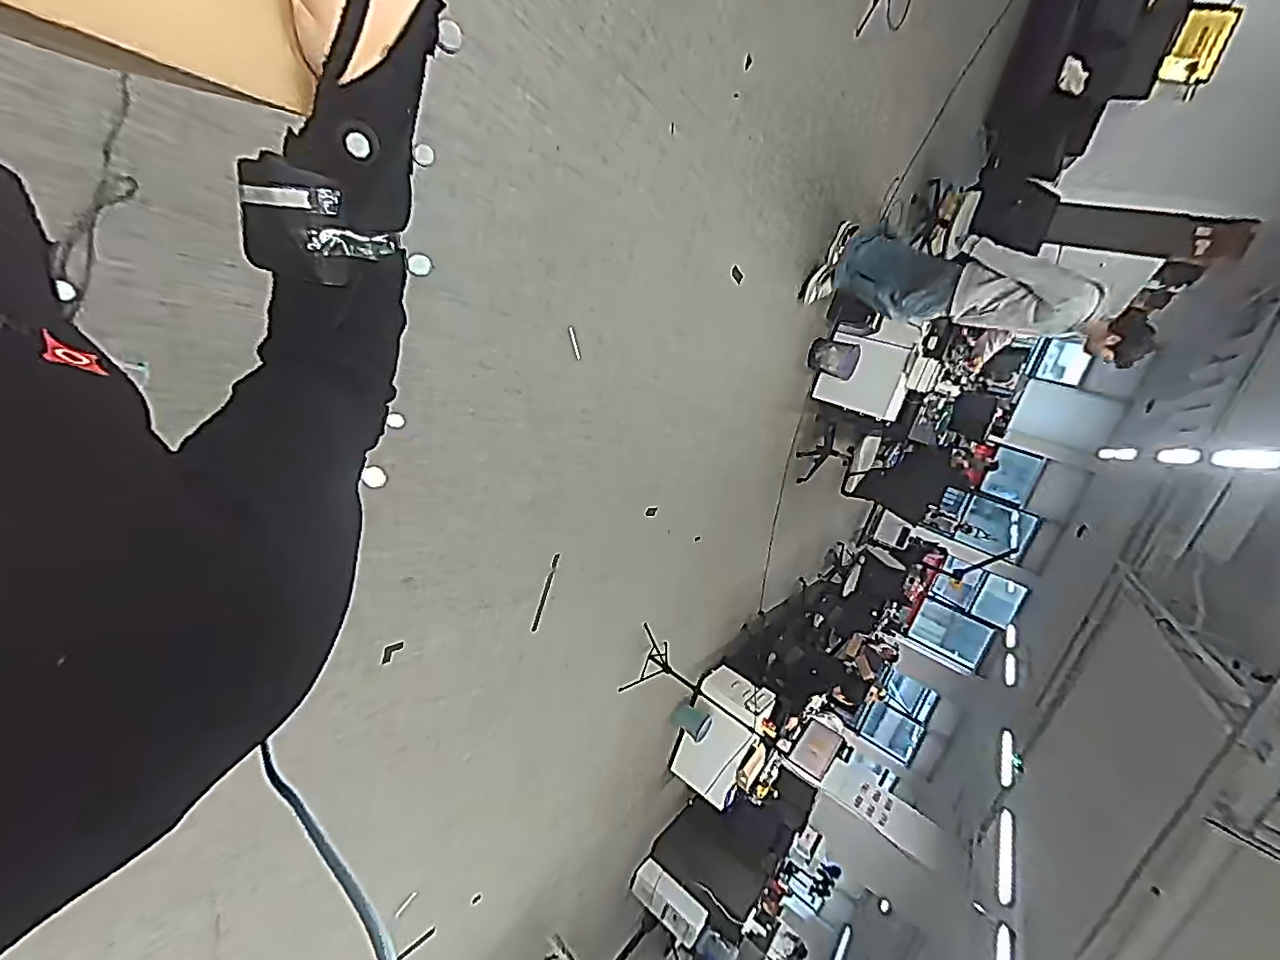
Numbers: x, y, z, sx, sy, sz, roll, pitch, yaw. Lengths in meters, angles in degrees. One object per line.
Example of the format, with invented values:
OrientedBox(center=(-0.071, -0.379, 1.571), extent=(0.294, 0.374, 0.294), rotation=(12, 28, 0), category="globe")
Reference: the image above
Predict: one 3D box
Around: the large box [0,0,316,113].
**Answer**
OrientedBox(center=(-0.373, -0.367, 0.153), extent=(0.408, 0.320, 0.320), rotation=(-18, 131, -56), category="large box")
